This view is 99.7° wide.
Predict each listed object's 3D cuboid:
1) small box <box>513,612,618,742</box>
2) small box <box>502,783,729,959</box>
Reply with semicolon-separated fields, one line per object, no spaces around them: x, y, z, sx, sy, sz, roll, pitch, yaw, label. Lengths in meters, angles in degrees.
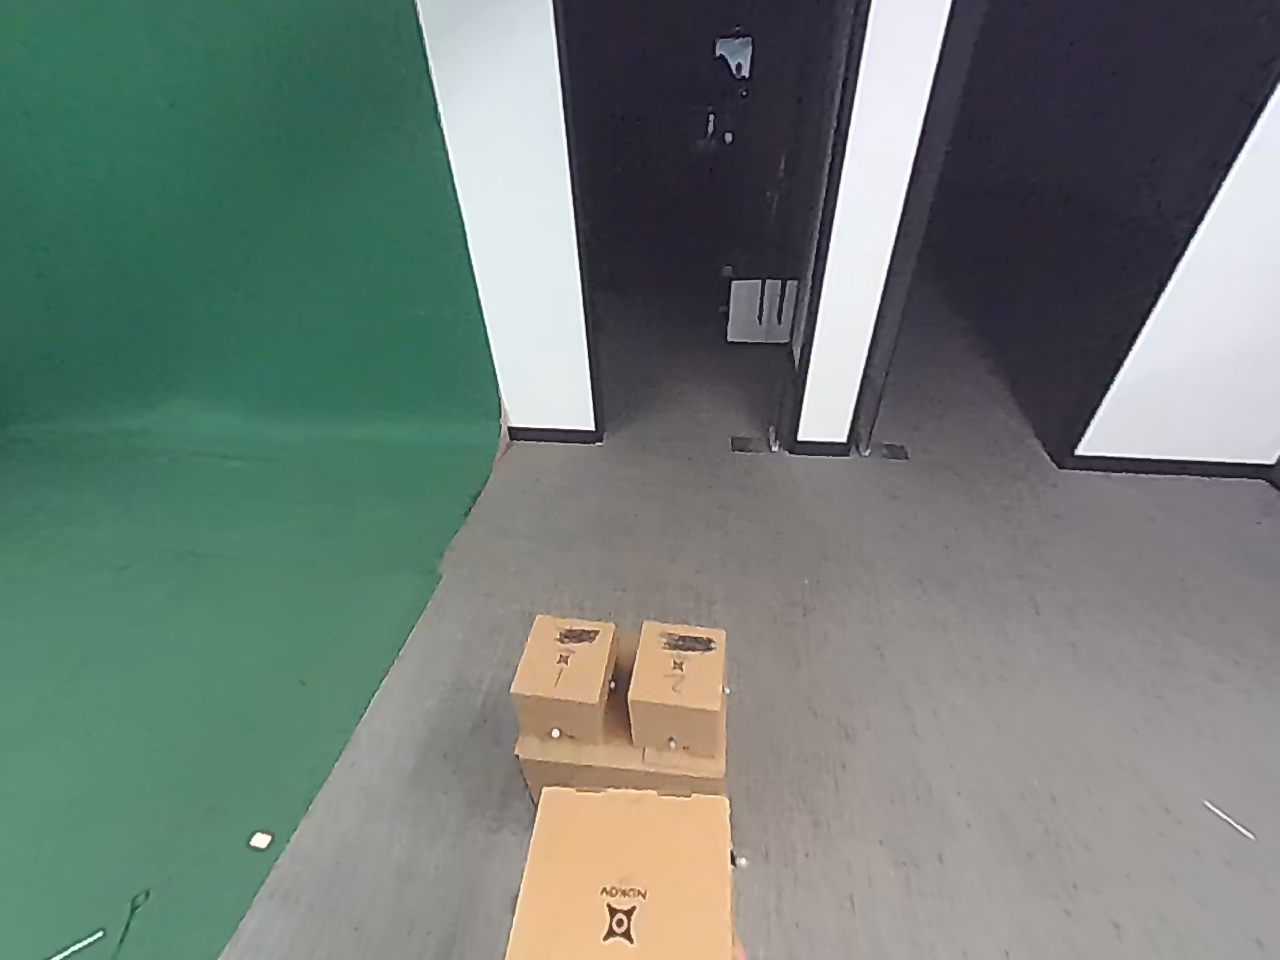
-0.140;0.396;1.090;0.168;0.176;0.179;5;41;8;small box
-0.008;0.392;0.468;0.168;0.176;0.179;-2;39;8;small box
